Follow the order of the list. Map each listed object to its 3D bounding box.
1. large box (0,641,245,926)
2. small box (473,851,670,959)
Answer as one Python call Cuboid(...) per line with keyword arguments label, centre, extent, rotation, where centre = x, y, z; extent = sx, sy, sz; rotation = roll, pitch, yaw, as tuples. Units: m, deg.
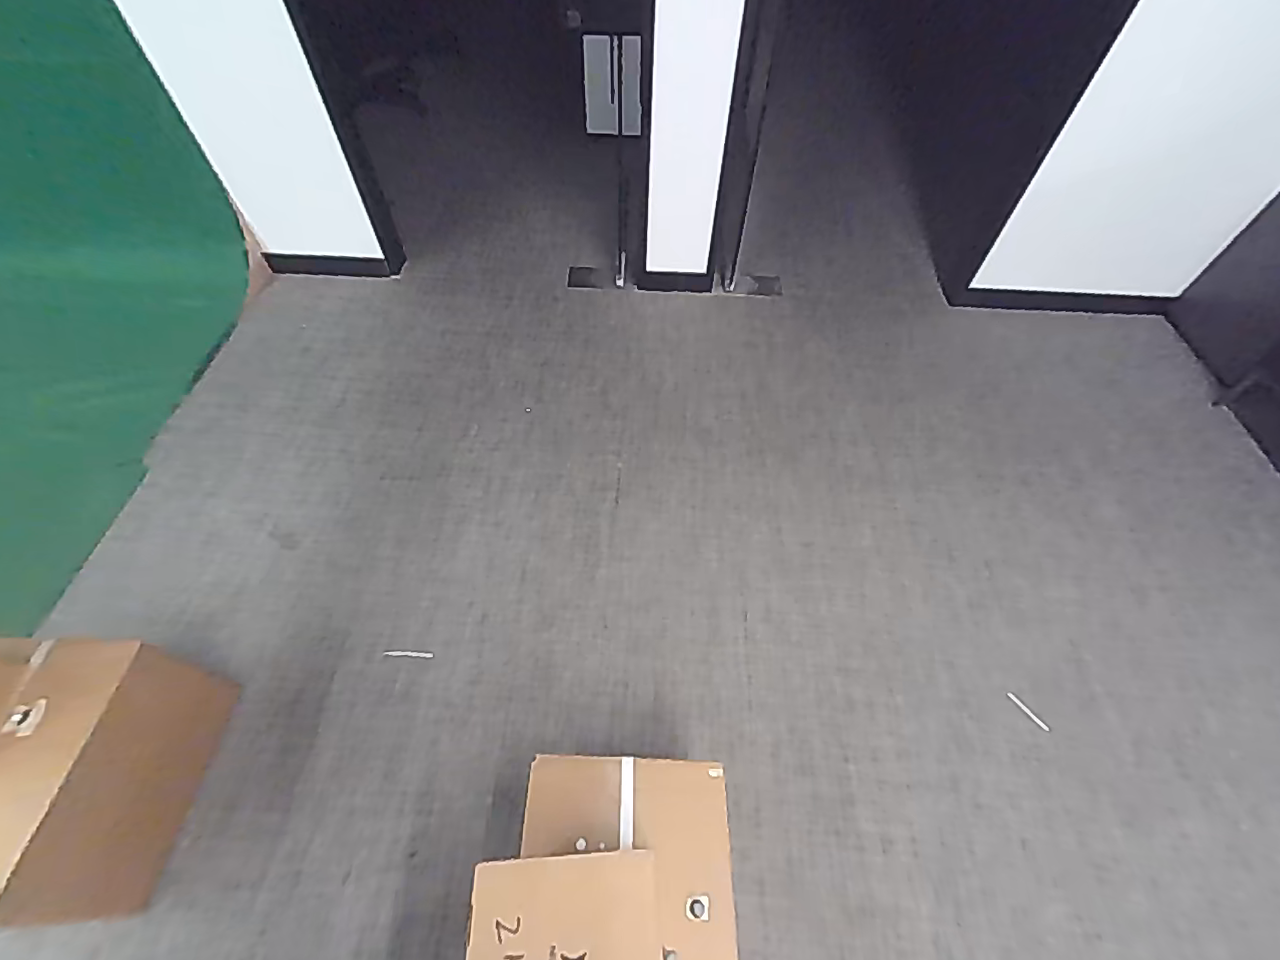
Cuboid(label="large box", centre=(-1.029, 0.540, 0.973), extent=(0.320, 0.320, 0.408), rotation=(1, 53, 0))
Cuboid(label="small box", centre=(-0.060, 0.476, 0.536), extent=(0.179, 0.176, 0.168), rotation=(-4, 52, -2))
